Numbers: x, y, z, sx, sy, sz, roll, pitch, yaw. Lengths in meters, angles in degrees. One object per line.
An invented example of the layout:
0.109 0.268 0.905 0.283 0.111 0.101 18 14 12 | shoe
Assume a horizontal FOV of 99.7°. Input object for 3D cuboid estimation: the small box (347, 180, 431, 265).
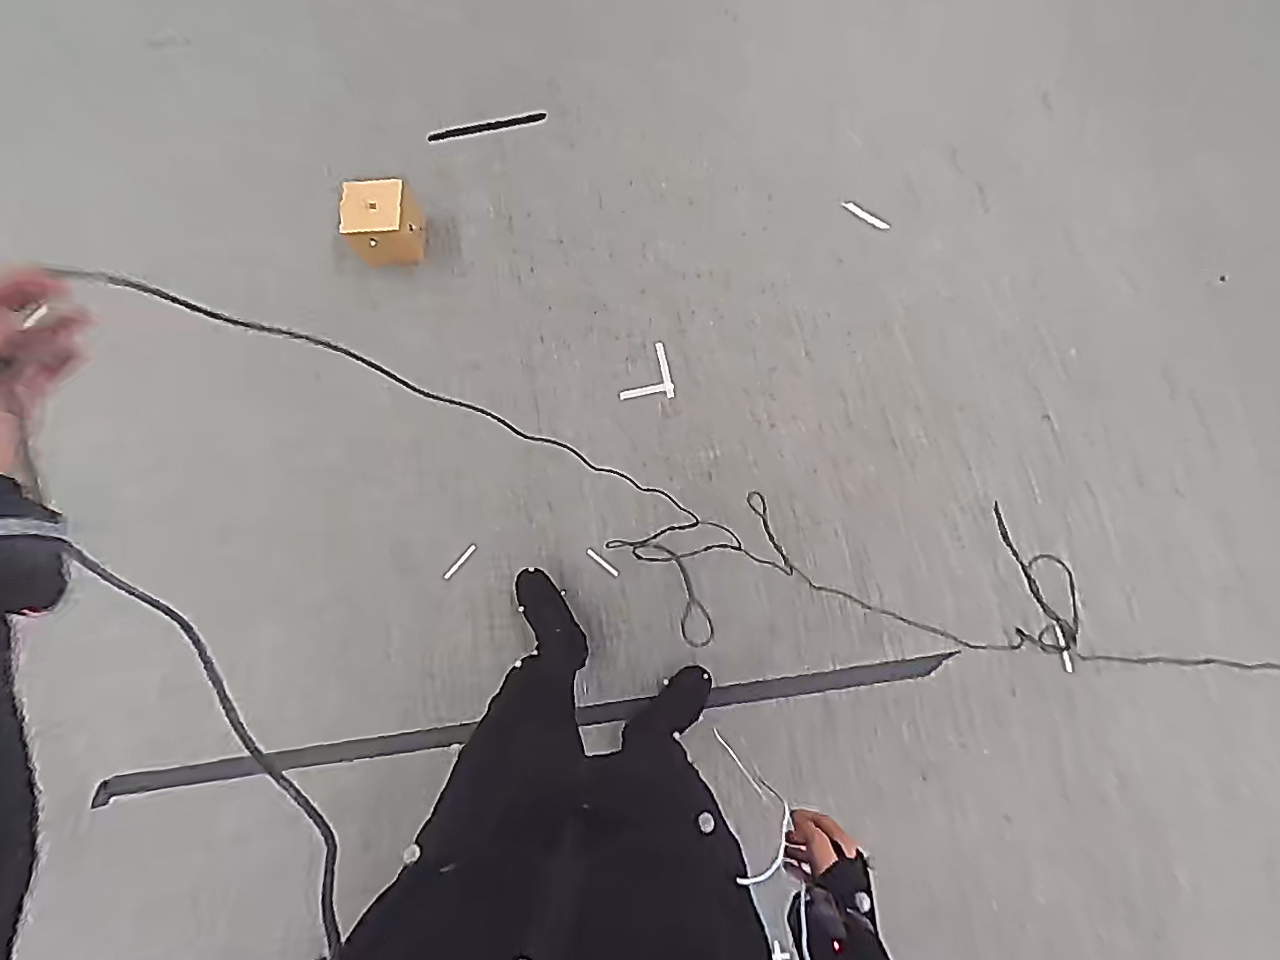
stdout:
-0.745 -0.767 1.623 0.179 0.176 0.168 -2 80 3 | small box
